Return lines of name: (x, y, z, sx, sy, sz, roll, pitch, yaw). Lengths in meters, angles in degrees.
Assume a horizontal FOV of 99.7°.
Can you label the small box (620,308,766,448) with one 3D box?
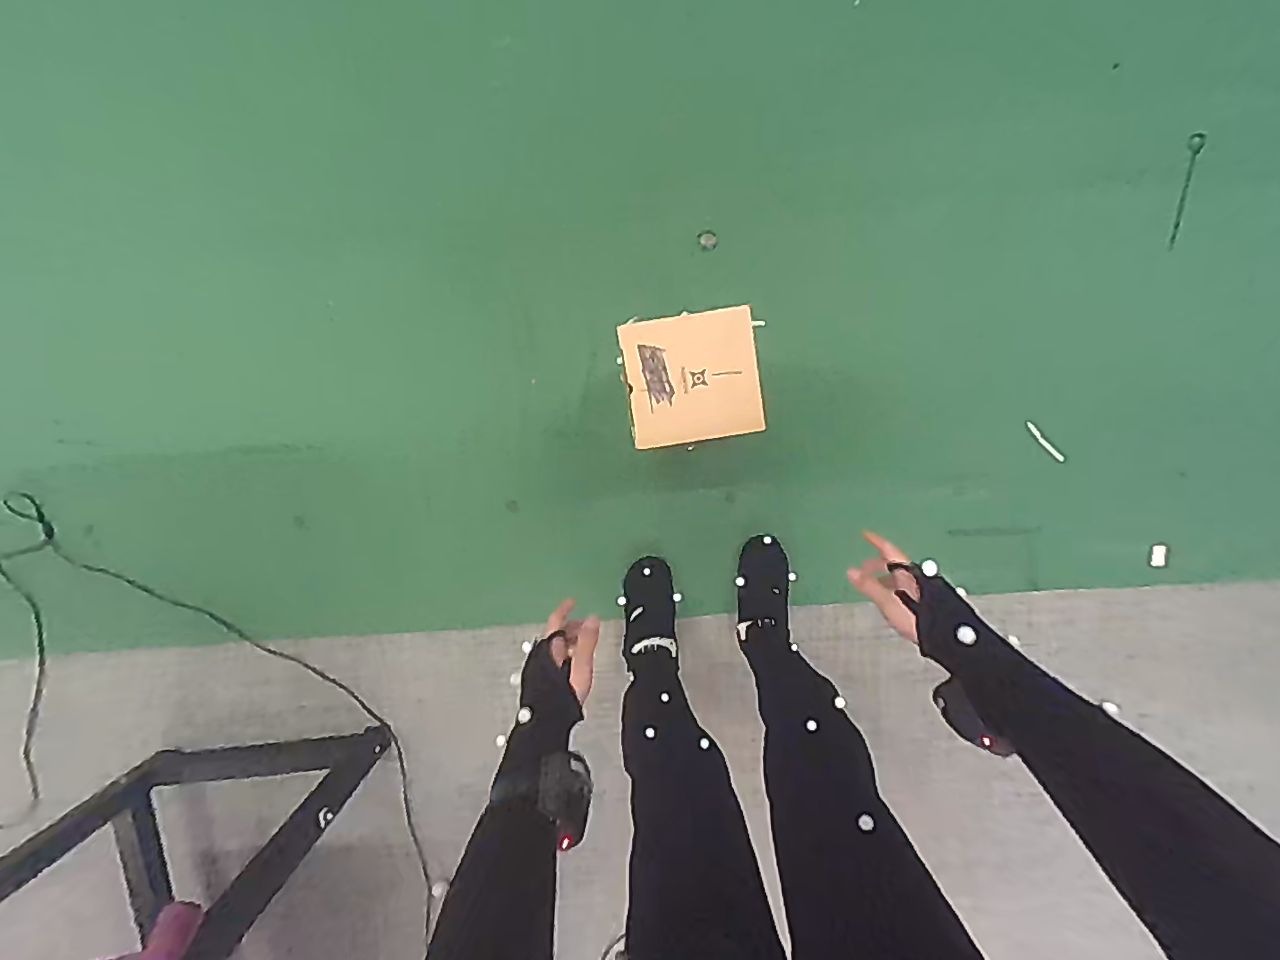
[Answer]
small box: (0.073, -0.140, 0.788, 0.179, 0.176, 0.168, -9, 97, 2)
